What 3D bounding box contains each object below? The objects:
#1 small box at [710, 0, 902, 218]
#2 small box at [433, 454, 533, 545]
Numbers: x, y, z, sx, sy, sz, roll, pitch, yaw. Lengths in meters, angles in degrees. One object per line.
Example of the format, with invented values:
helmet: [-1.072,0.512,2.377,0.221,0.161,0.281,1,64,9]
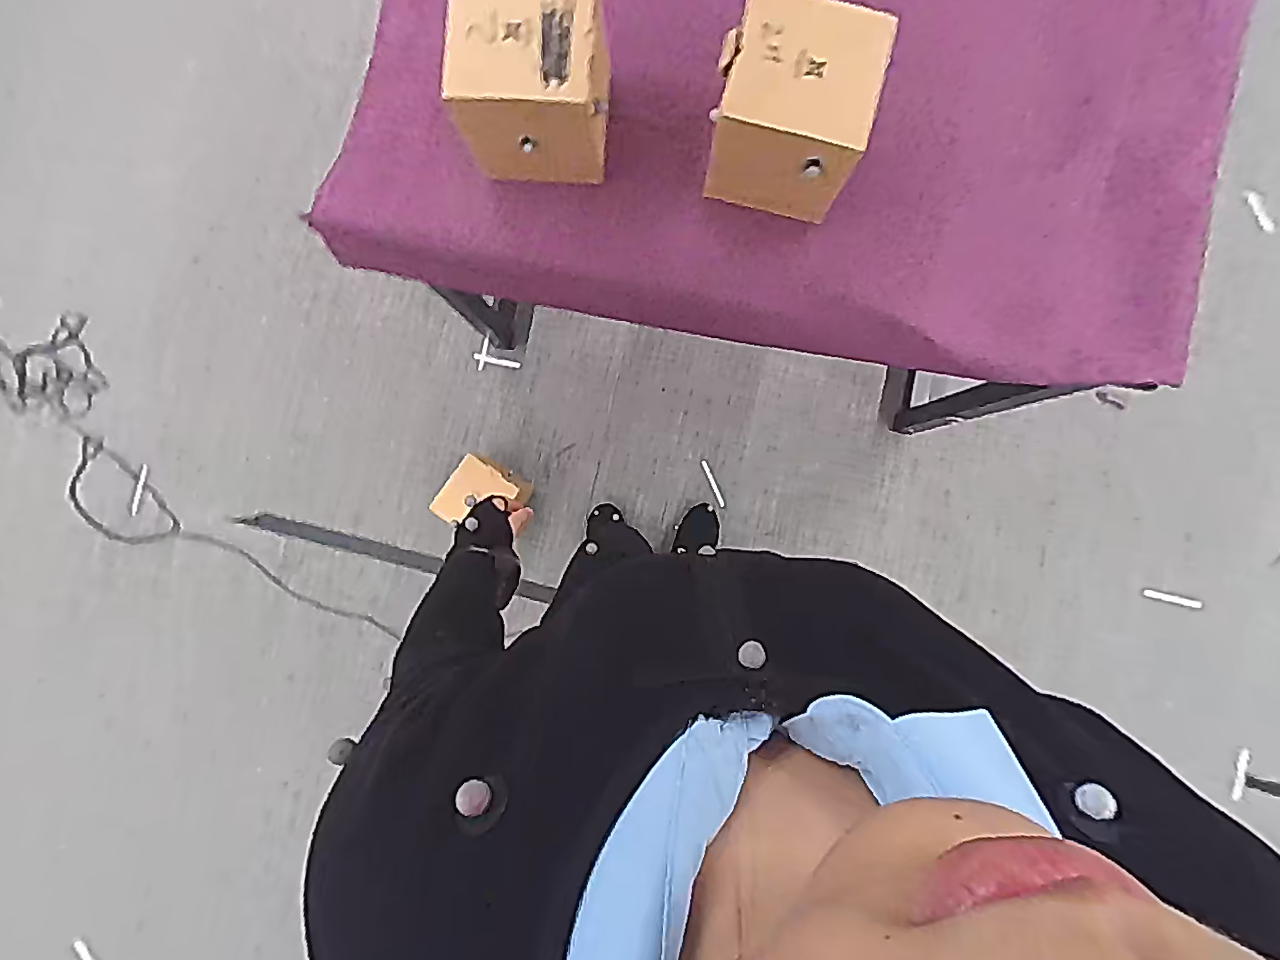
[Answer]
small box: [0.201,-0.472,0.703,0.179,0.176,0.168,15,88,2]
small box: [-0.406,0.051,1.437,0.168,0.176,0.179,35,89,2]
